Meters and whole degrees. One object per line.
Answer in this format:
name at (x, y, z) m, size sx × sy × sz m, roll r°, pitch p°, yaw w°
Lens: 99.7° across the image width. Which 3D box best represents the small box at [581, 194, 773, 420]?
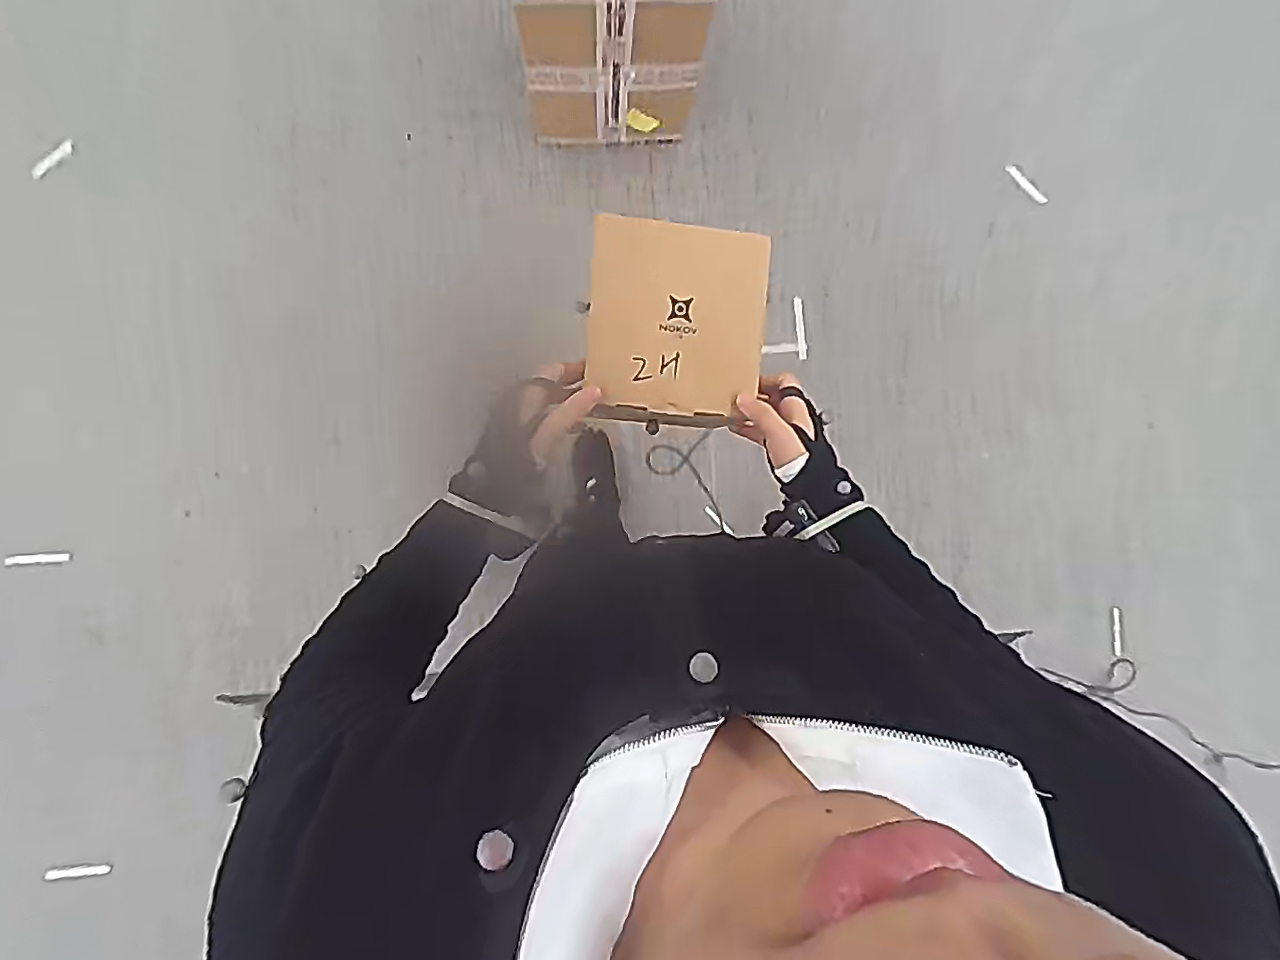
small box at (0.027, -0.164, 0.572) m, size 0.168 × 0.176 × 0.179 m, roll 5°, pitch 92°, yaw -6°
